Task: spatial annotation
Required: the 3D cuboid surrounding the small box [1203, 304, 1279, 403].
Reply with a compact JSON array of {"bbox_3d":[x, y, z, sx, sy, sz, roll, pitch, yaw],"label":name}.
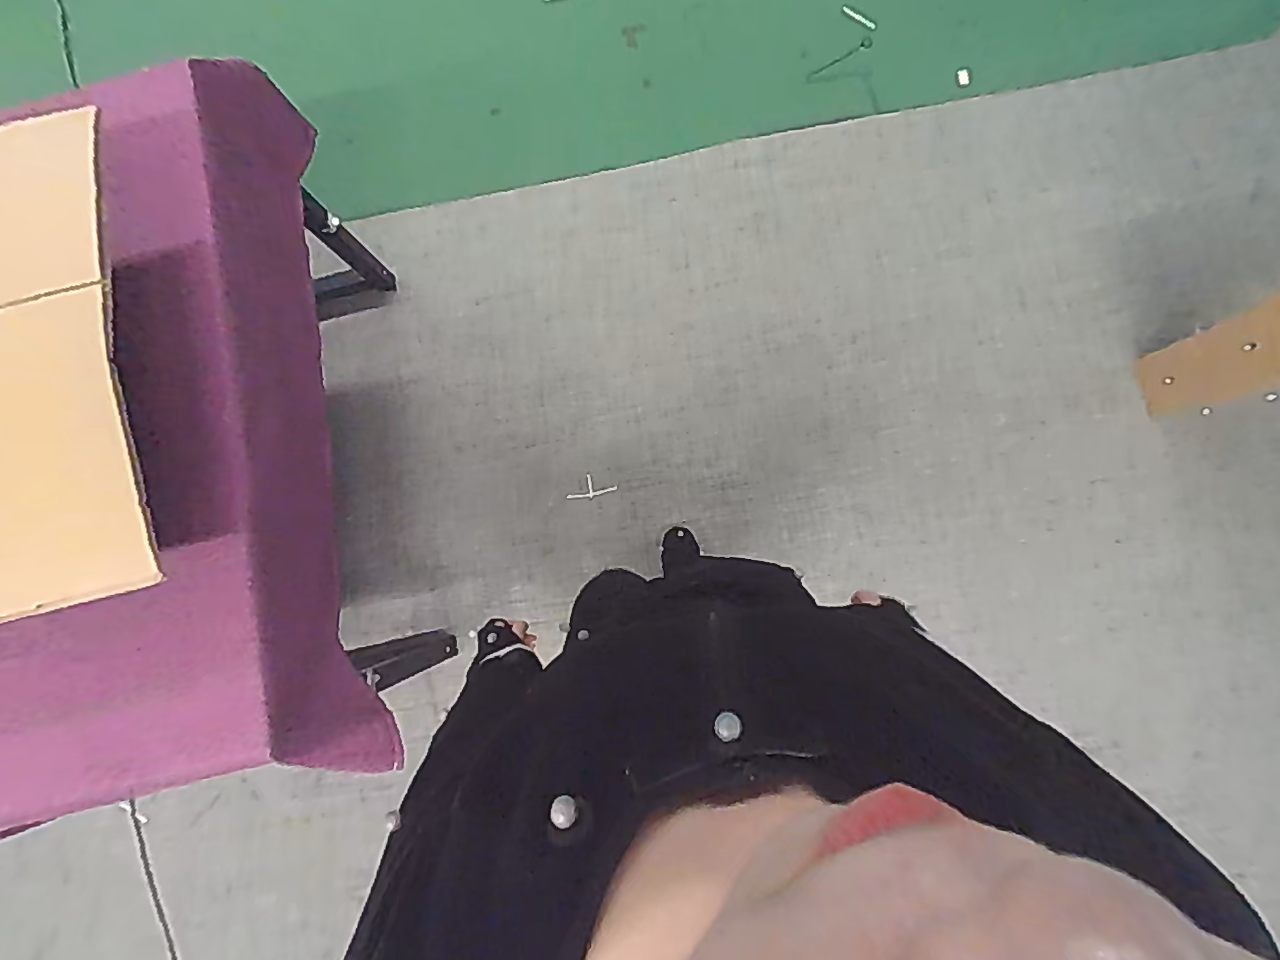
[{"bbox_3d":[1.448,-0.288,1.224,0.168,0.176,0.179,-7,81,4],"label":"small box"}]
